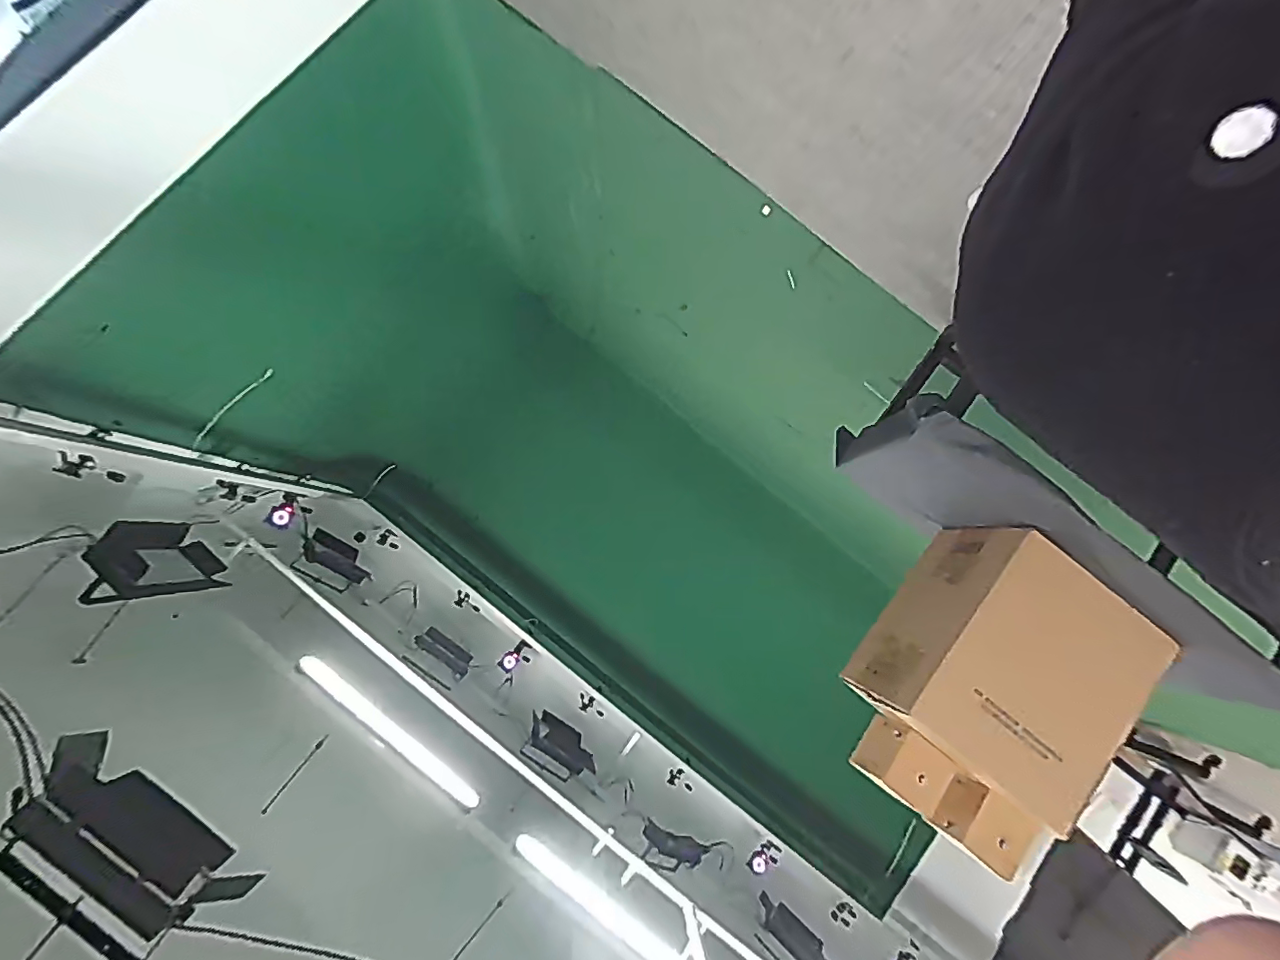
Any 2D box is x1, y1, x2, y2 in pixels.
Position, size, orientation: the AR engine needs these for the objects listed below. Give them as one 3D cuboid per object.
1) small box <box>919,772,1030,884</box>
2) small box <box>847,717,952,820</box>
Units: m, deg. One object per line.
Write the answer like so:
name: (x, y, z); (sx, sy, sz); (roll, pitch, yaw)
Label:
small box: (0.947, 0.973, 1.529); (0.179, 0.176, 0.168); (39, 167, 0)
small box: (0.743, 0.816, 1.551); (0.179, 0.176, 0.168); (38, 167, -1)
